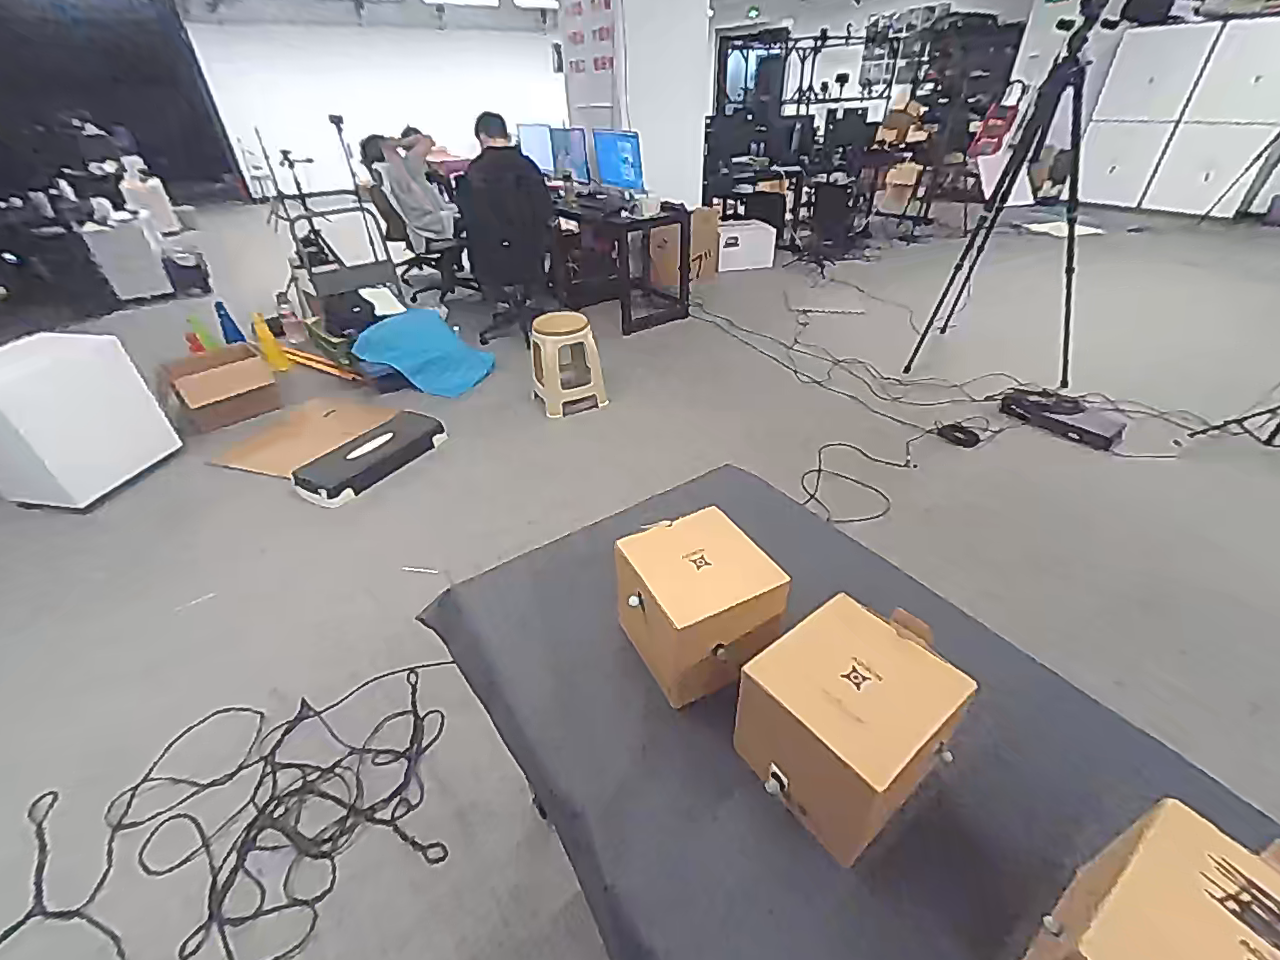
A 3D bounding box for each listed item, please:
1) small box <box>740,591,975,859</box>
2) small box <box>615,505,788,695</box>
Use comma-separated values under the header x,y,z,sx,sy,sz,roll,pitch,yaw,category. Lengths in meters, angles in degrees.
x,y,z,sx,sy,sz,roll,pitch,yaw,category
0.228,0.266,0.607,0.179,0.176,0.168,-25,40,-30,small box
0.078,0.168,0.751,0.168,0.176,0.179,-17,38,-22,small box
